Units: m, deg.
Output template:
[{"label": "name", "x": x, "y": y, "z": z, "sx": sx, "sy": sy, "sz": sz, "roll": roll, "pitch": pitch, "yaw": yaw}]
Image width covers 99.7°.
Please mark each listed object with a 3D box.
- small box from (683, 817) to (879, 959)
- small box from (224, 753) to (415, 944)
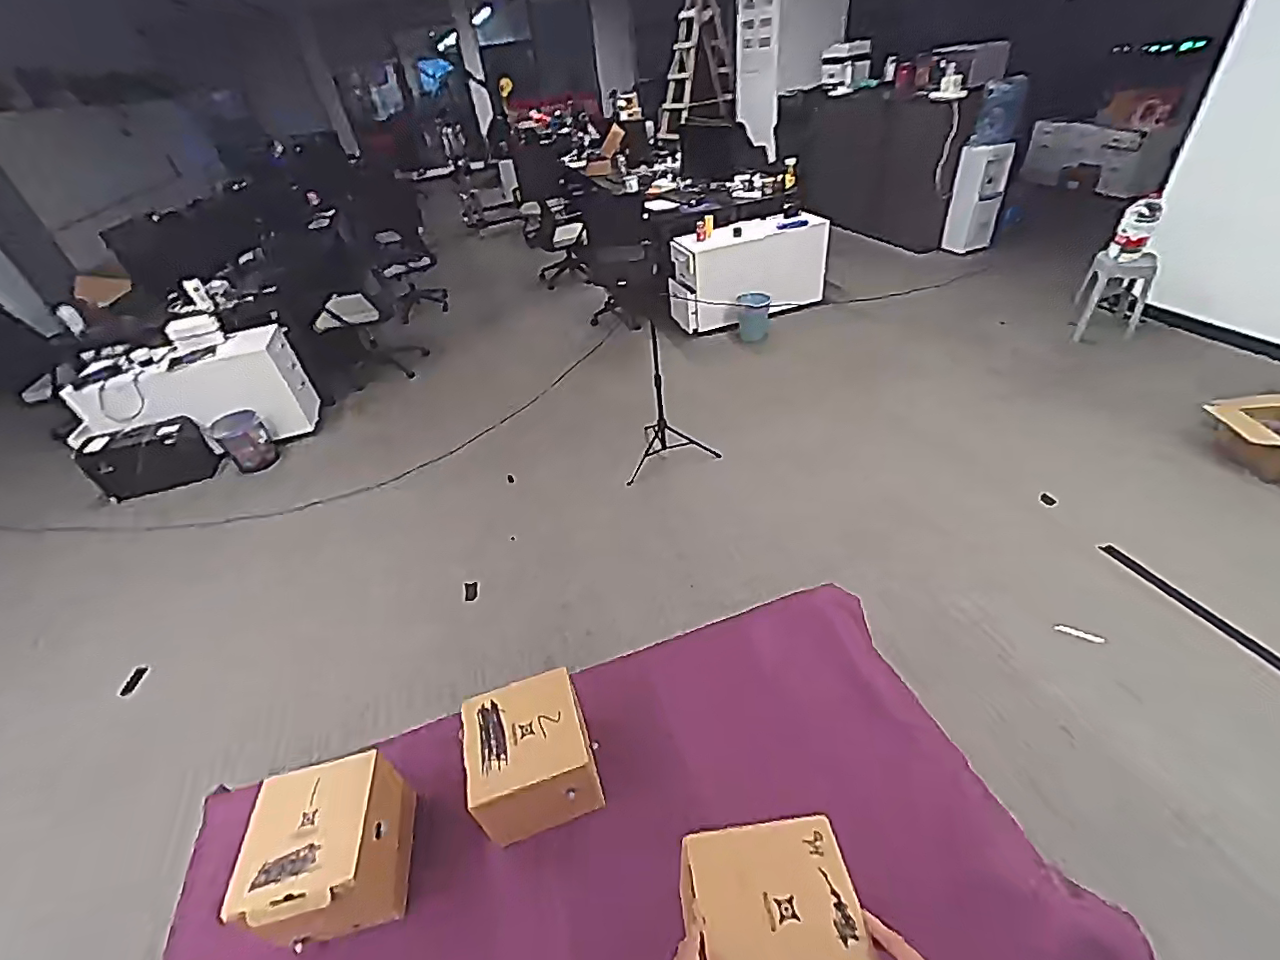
[{"label": "small box", "x": 0.147, "y": 0.515, "z": 0.610, "sx": 0.179, "sy": 0.176, "sz": 0.168, "roll": -5, "pitch": 37, "yaw": -4}, {"label": "small box", "x": -0.444, "y": 0.539, "z": 0.788, "sx": 0.168, "sy": 0.176, "sz": 0.179, "roll": -13, "pitch": 39, "yaw": -6}]
